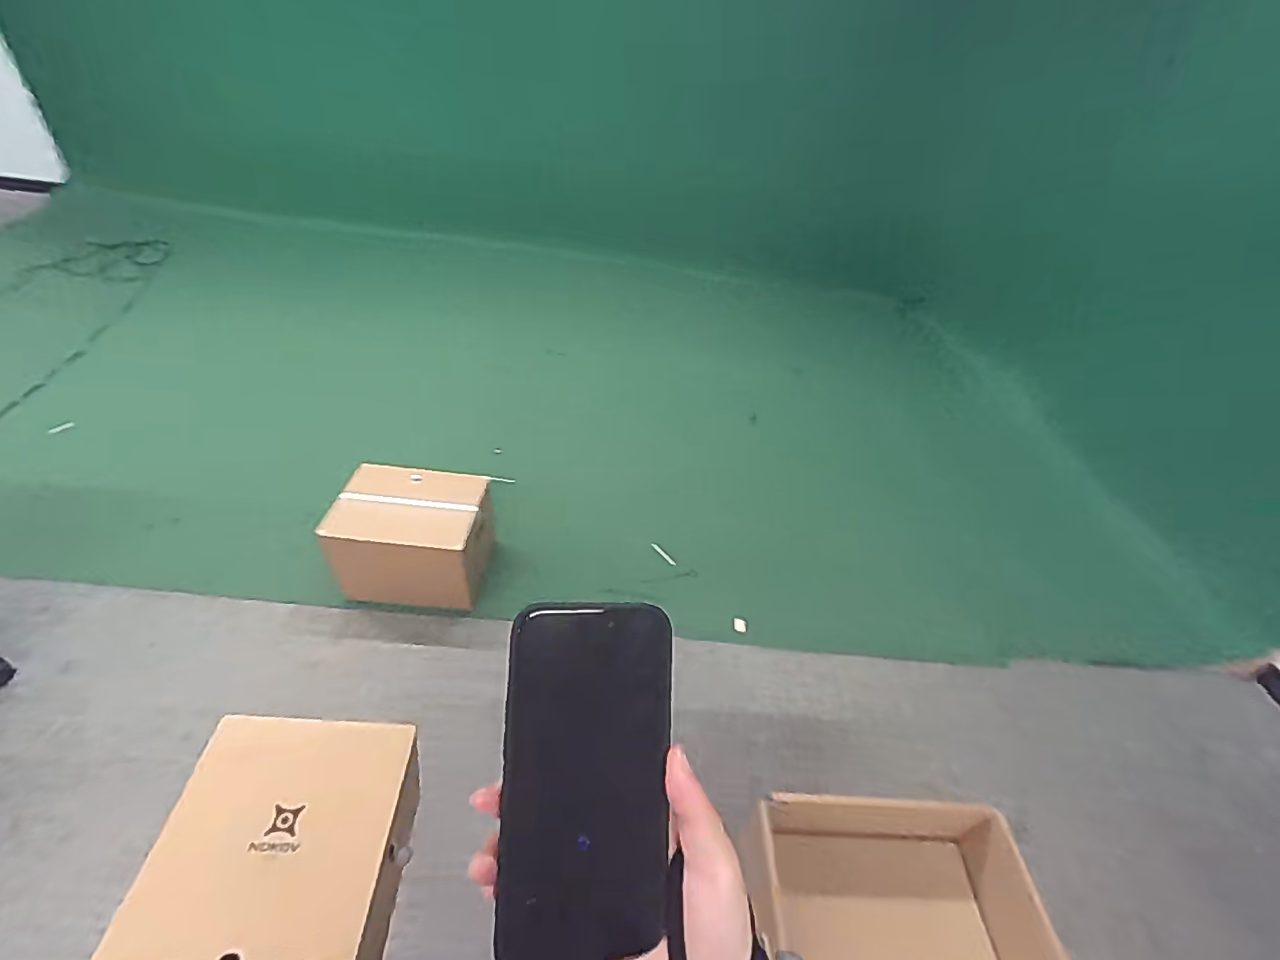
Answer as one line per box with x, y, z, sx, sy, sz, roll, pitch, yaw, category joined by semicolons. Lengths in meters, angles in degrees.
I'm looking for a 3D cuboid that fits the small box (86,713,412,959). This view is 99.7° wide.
-0.312;0.336;0.483;0.168;0.176;0.179;9;41;-11;small box
